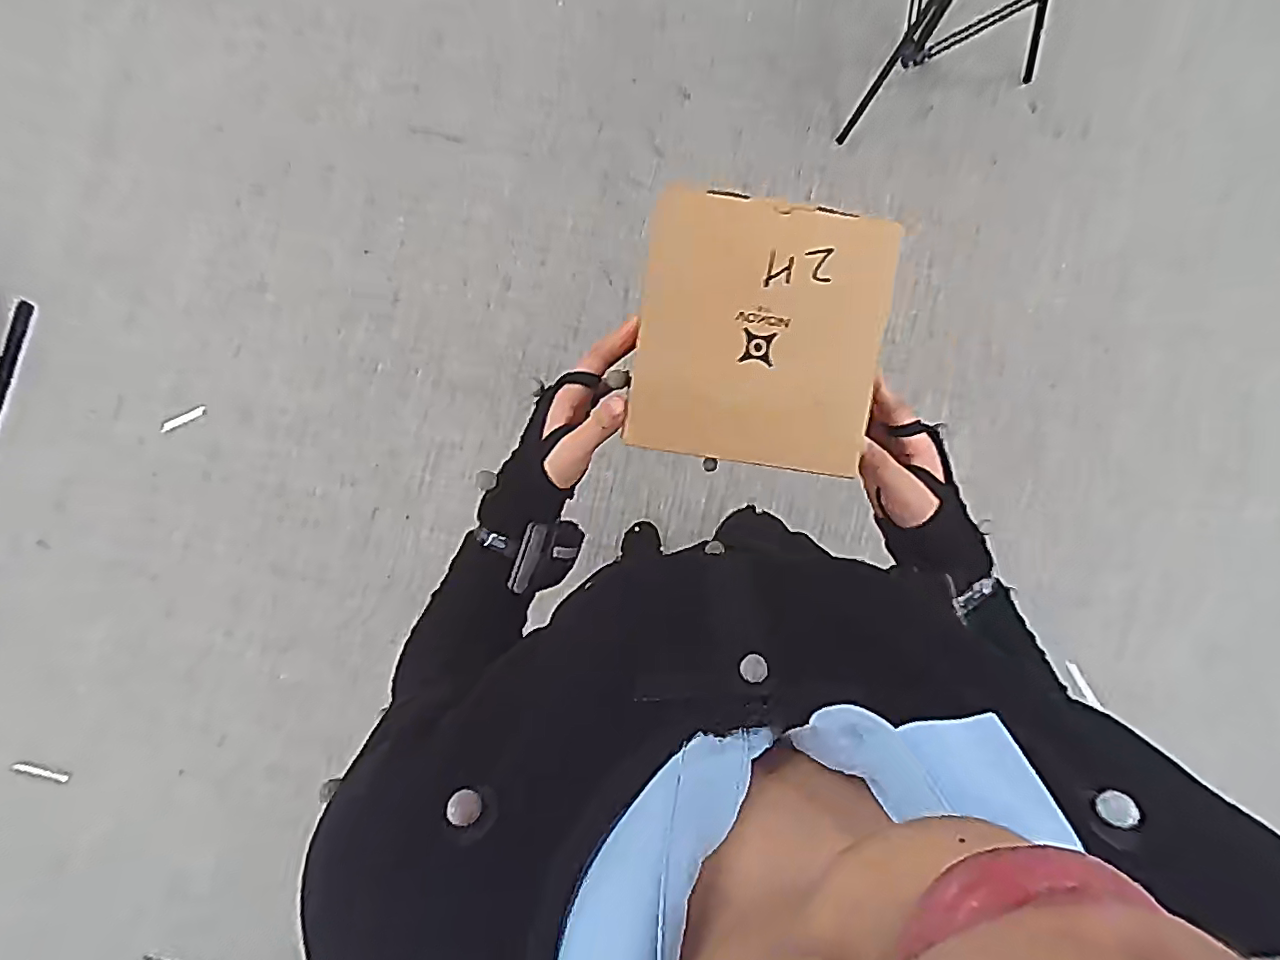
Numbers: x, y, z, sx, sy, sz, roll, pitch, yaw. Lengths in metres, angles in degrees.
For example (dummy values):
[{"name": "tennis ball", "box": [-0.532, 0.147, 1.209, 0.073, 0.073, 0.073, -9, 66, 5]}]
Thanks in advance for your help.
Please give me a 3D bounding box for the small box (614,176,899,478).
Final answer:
[{"name": "small box", "box": [0.074, -0.106, 0.435, 0.168, 0.176, 0.179, 8, 96, -3]}]
